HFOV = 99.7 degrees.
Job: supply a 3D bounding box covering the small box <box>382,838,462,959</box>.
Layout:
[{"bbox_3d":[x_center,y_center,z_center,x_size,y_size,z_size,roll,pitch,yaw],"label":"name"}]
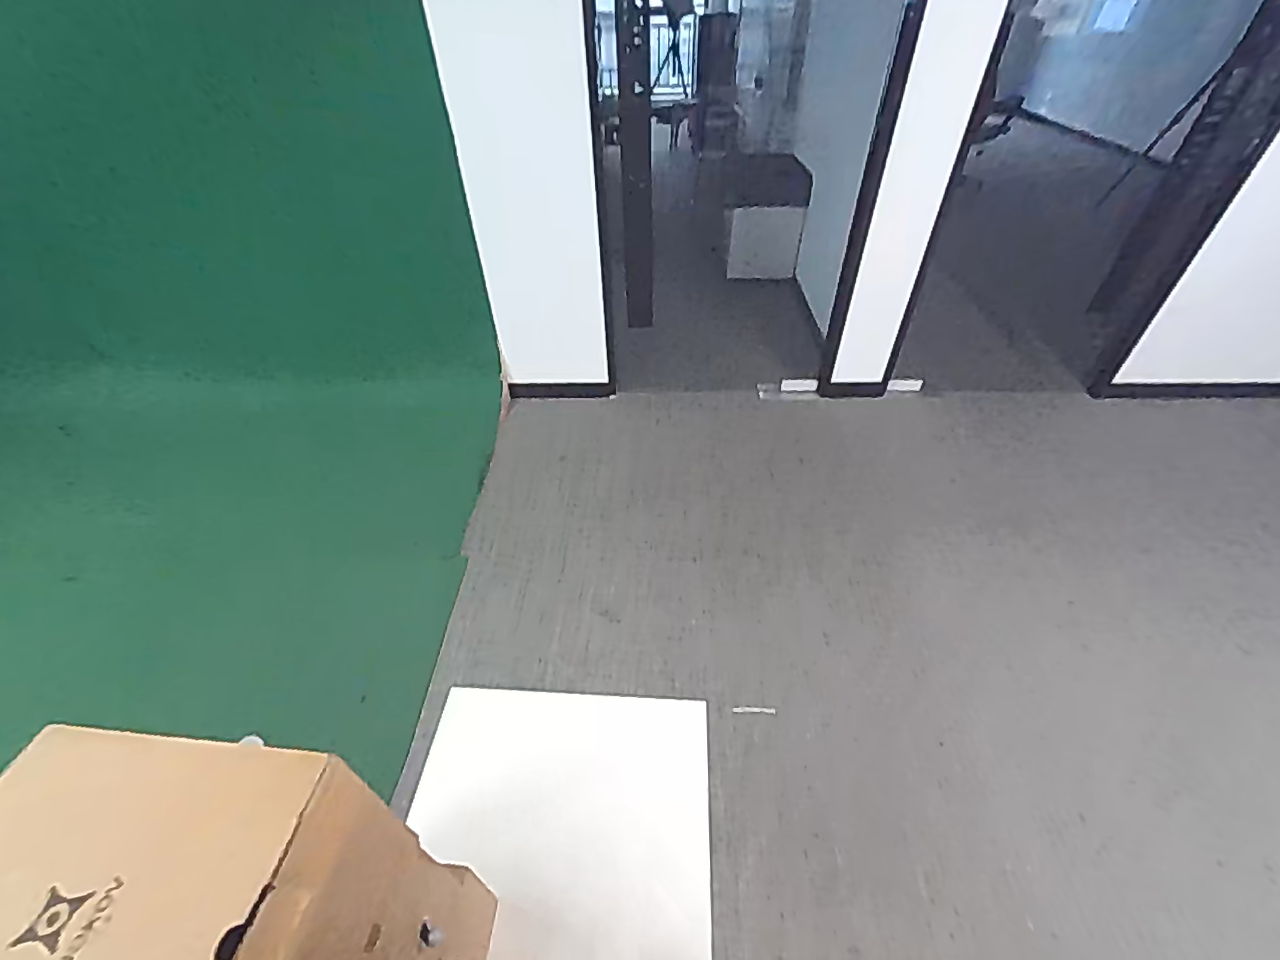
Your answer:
[{"bbox_3d":[-0.255,0.382,0.412,0.179,0.176,0.168,1,42,3],"label":"small box"}]
